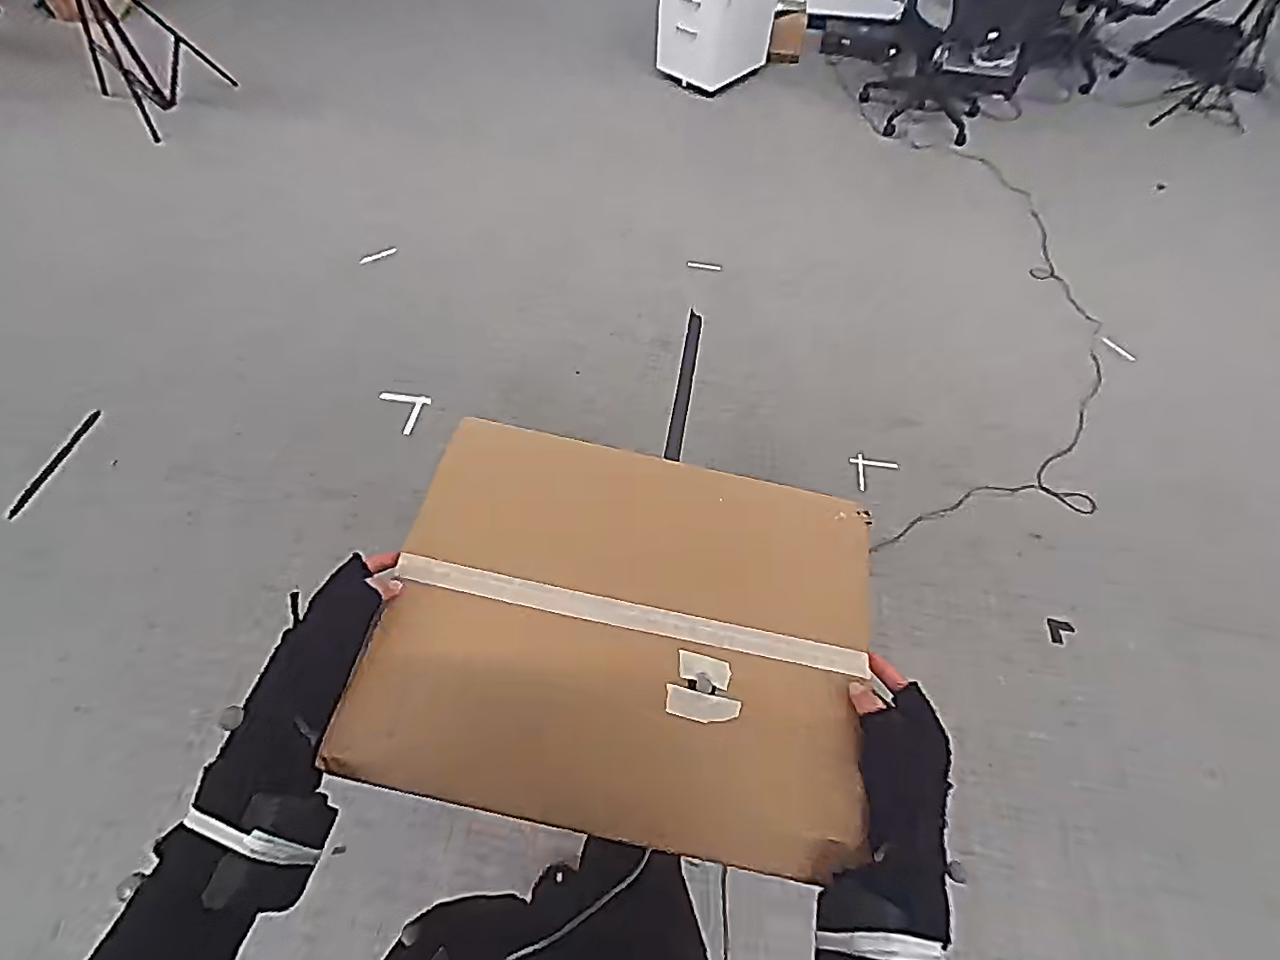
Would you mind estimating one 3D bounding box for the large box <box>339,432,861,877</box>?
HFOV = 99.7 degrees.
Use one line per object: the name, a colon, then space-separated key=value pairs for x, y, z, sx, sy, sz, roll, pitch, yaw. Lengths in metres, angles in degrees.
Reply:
large box: x=-0.020 y=0.190 z=0.598 sx=0.408 sy=0.320 sz=0.320 roll=13 pitch=63 yaw=0
